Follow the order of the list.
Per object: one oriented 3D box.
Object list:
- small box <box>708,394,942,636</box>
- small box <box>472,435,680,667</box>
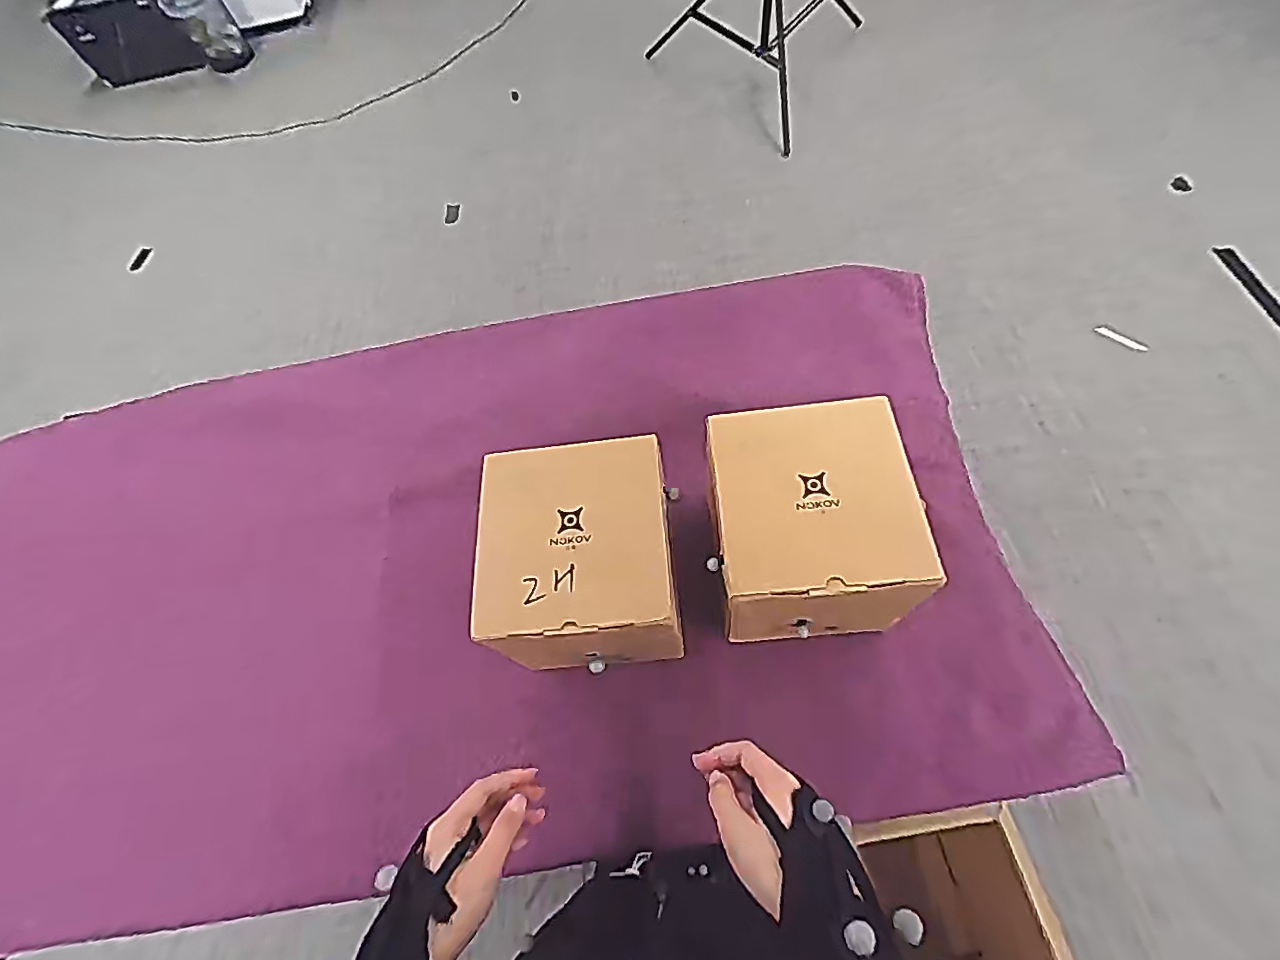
[{"bbox_3d":[0.156,0.042,0.529,0.168,0.176,0.179,-7,62,5],"label":"small box"},{"bbox_3d":[-0.051,0.078,0.540,0.168,0.176,0.179,-7,63,5],"label":"small box"}]
